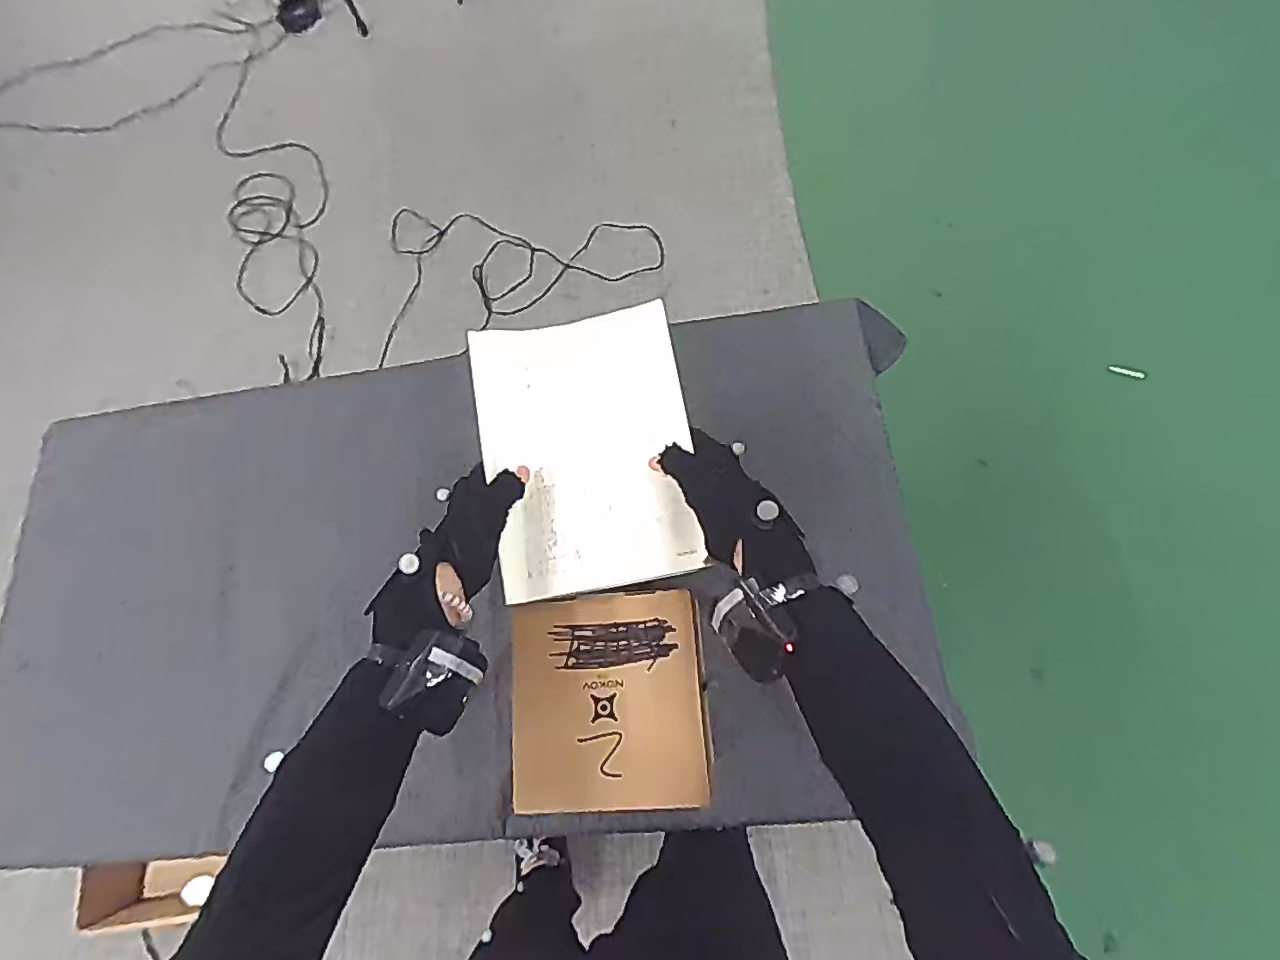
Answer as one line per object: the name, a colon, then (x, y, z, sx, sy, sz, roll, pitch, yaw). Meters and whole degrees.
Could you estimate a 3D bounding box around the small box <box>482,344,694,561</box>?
small box: (-0.045, -0.017, 0.593, 0.179, 0.176, 0.168, -17, 72, 8)
